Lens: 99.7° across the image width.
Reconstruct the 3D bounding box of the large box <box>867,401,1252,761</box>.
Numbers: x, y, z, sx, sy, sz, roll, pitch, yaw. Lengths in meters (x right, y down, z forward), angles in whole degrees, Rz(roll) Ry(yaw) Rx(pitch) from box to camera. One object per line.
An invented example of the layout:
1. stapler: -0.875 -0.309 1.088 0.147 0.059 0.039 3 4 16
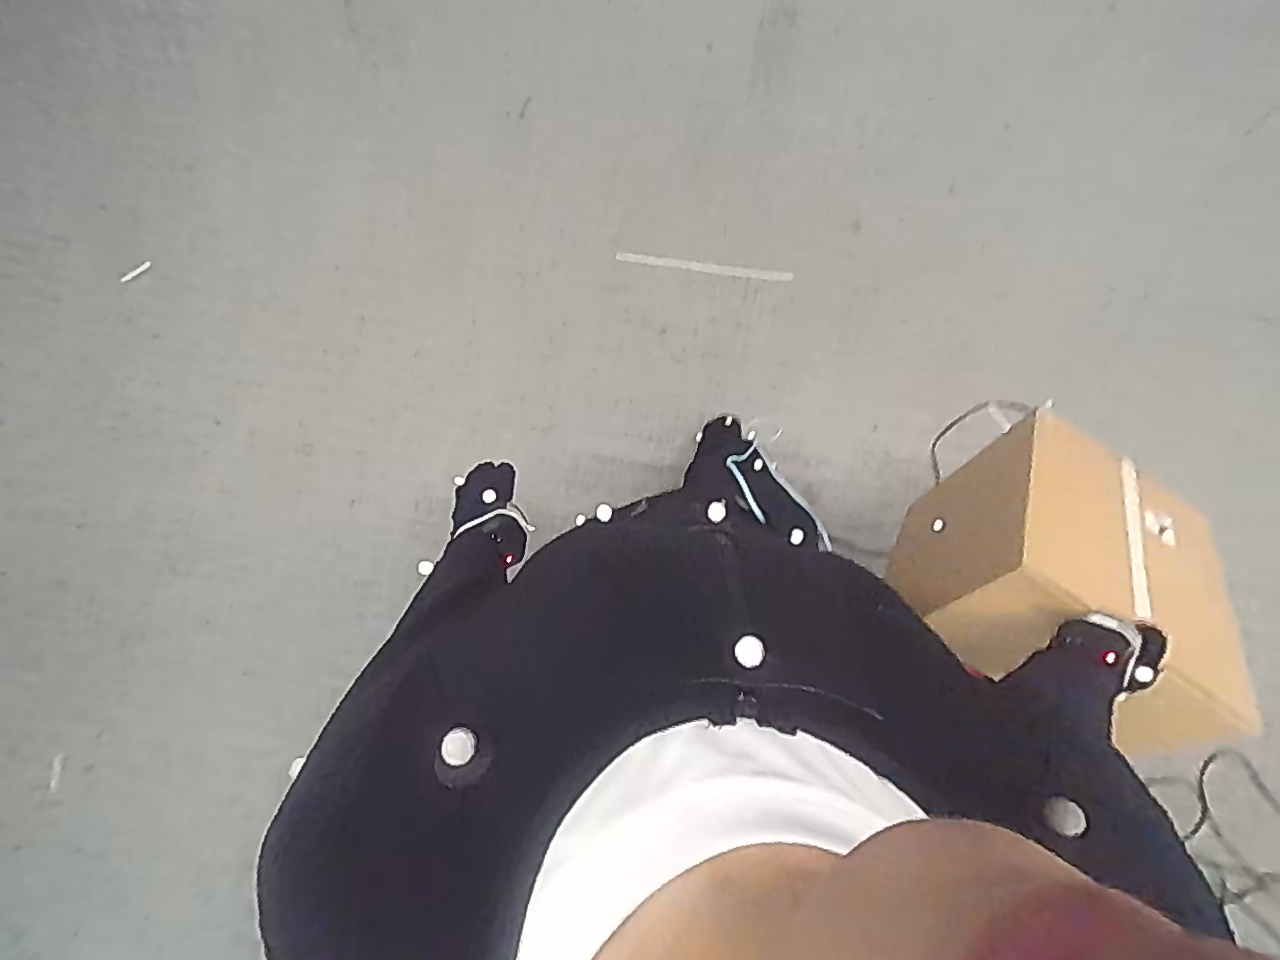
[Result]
1. large box: 0.624 0.155 0.867 0.320 0.320 0.408 37 50 6
